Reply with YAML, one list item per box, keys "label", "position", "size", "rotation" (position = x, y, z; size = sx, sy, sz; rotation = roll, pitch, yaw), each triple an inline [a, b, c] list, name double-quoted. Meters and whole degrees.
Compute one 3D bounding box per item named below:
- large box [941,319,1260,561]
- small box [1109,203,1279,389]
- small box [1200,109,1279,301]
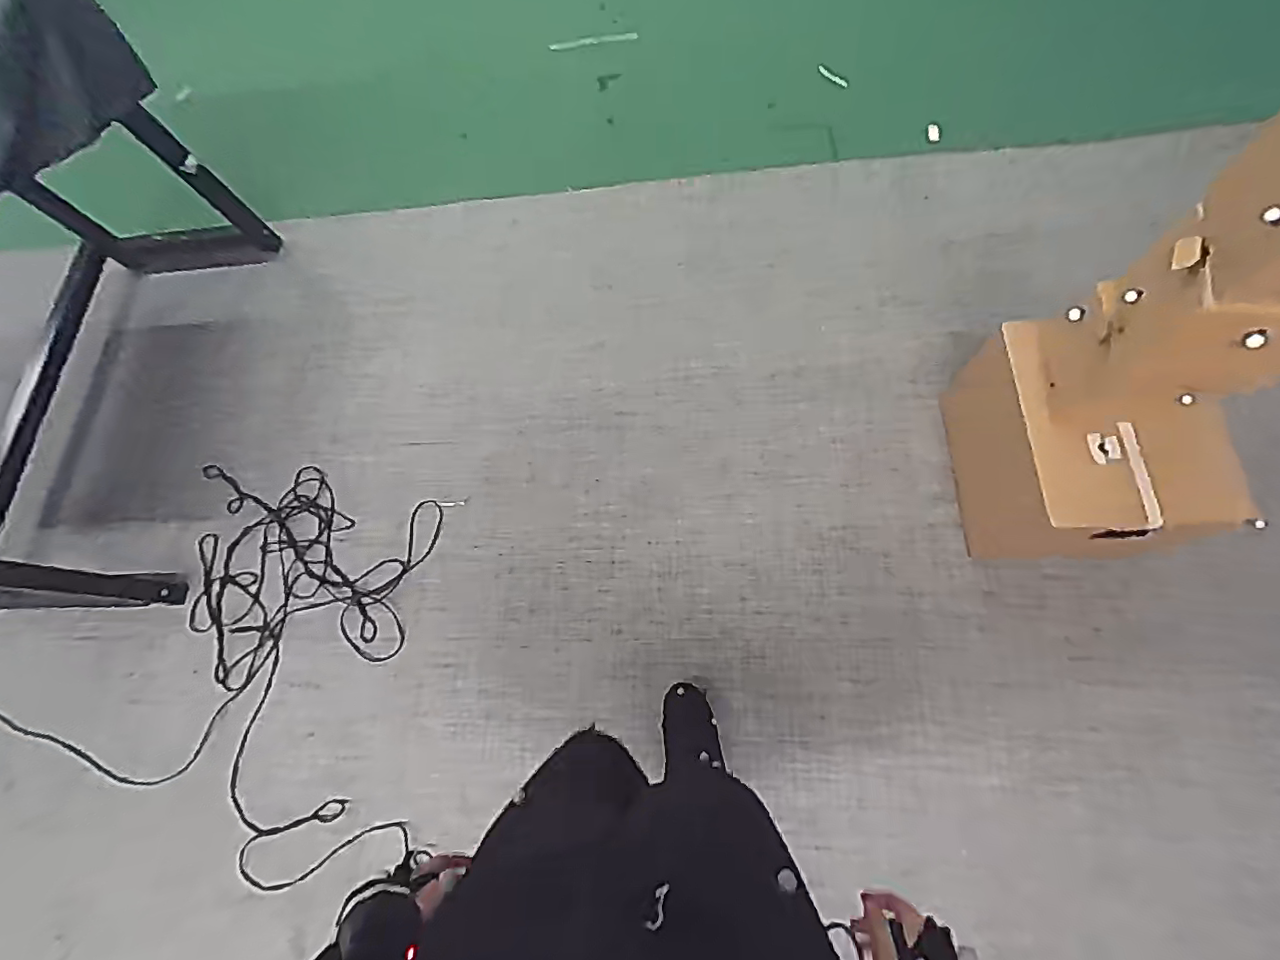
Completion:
- label: "large box"
  position: [0.854, -0.063, 1.080]
  size: [0.320, 0.320, 0.408]
  rotation: [-4, 72, 8]
- label: "small box"
  position: [0.778, -0.236, 0.717]
  size: [0.179, 0.176, 0.168]
  rotation: [10, 74, 12]
- label: "small box"
  position: [0.757, -0.301, 0.569]
  size: [0.168, 0.176, 0.179]
  rotation: [8, 72, 10]
